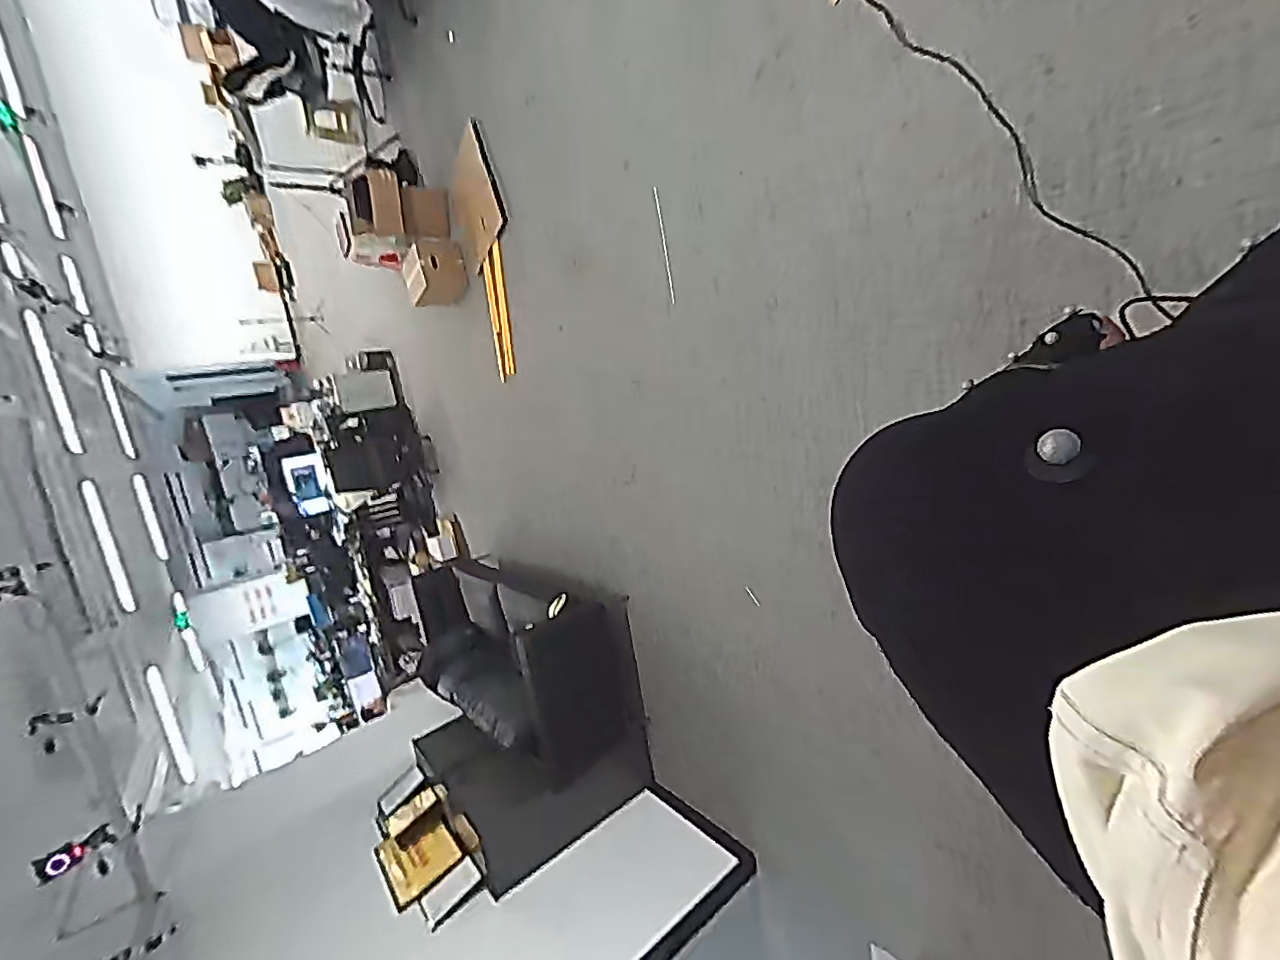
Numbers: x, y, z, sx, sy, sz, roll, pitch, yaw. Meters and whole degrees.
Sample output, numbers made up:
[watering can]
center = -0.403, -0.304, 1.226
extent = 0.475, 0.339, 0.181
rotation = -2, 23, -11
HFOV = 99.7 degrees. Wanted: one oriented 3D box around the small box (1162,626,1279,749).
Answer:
[small box]
center = 1.269, 0.436, 1.171
extent = 0.179, 0.176, 0.168
rotation = 3, 107, 52
